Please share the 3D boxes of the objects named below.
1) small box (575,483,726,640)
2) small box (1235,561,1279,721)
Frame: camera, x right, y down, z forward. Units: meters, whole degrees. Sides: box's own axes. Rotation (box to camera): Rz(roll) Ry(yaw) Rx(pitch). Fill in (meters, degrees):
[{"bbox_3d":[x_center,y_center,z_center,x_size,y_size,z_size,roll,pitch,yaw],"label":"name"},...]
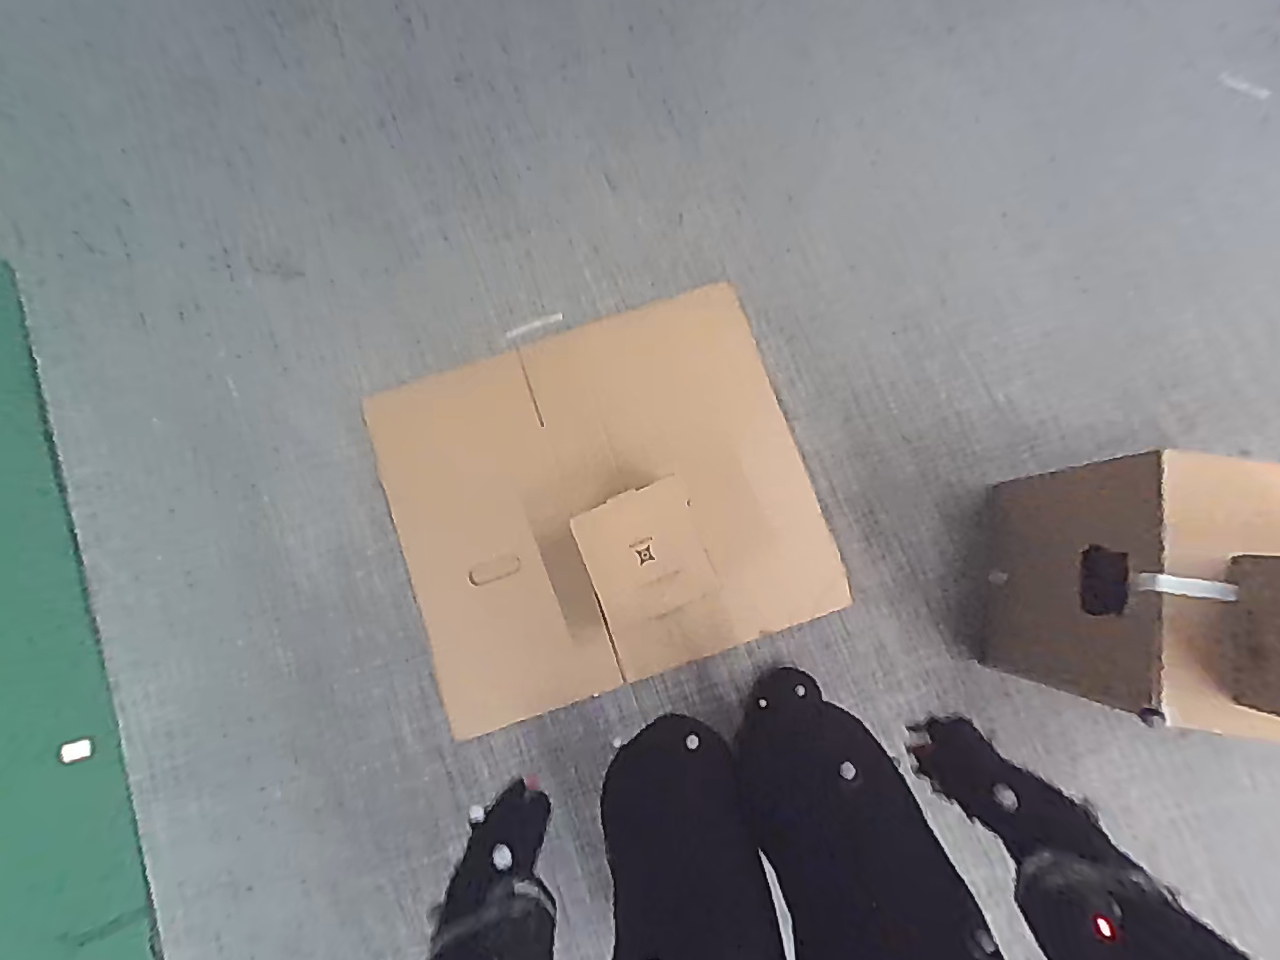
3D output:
[{"bbox_3d":[0.018,0.124,0.836,0.168,0.176,0.179,-24,81,2],"label":"small box"},{"bbox_3d":[0.734,0.163,0.515,0.179,0.176,0.168,3,80,1],"label":"small box"}]
